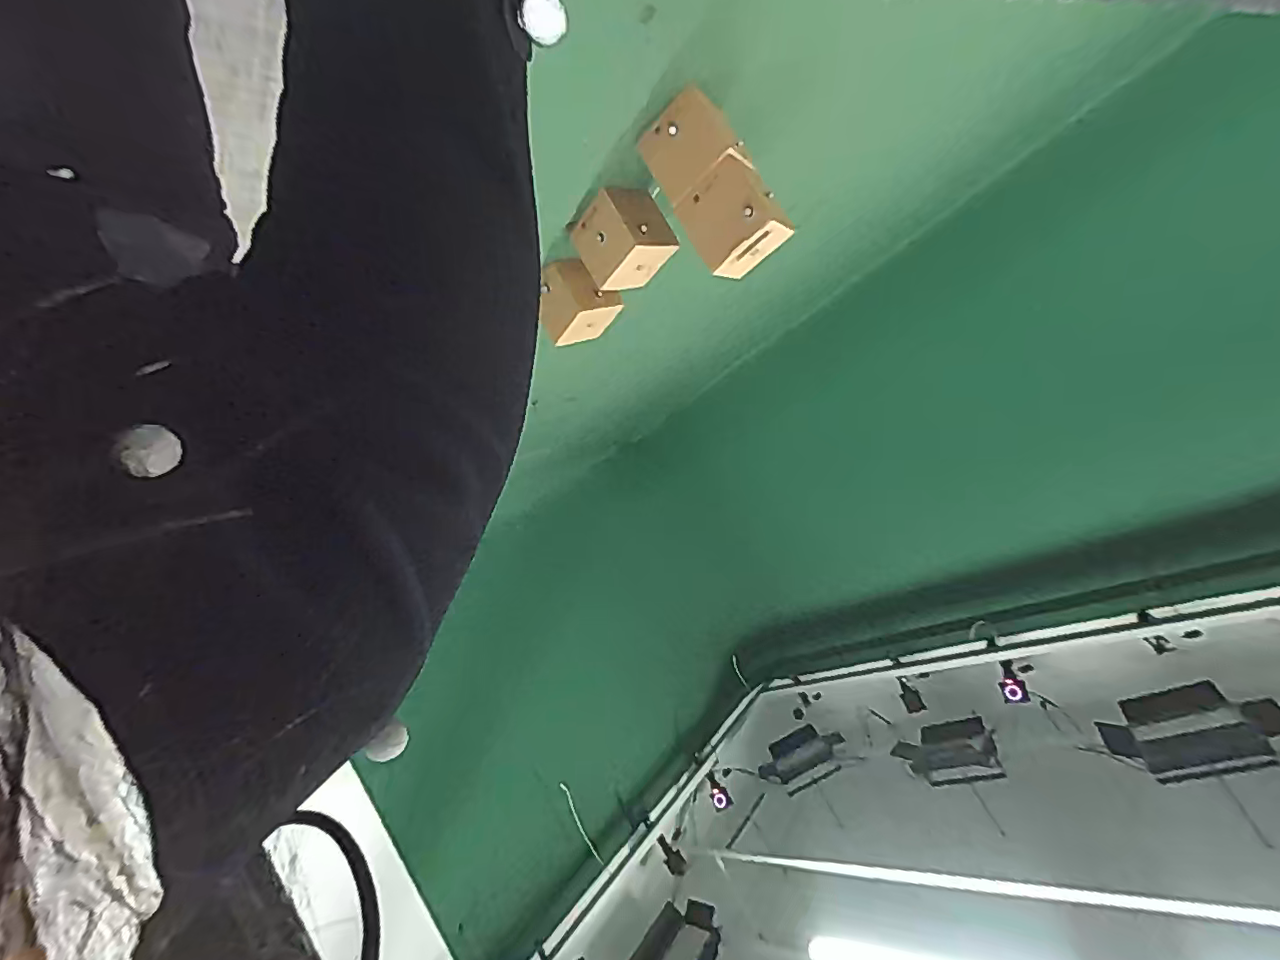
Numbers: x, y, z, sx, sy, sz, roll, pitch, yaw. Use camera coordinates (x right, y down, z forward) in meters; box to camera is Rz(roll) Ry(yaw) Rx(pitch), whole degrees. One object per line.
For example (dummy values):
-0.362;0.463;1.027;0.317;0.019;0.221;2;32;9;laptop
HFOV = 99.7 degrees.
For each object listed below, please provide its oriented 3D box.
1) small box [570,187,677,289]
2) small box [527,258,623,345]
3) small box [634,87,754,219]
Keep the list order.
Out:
-0.046;-0.611;1.367;0.179;0.176;0.168;-28;176;-45;small box
-0.190;-0.514;1.546;0.179;0.176;0.168;-27;175;-42;small box
0.121;-0.722;1.205;0.168;0.176;0.179;-34;174;32;small box
